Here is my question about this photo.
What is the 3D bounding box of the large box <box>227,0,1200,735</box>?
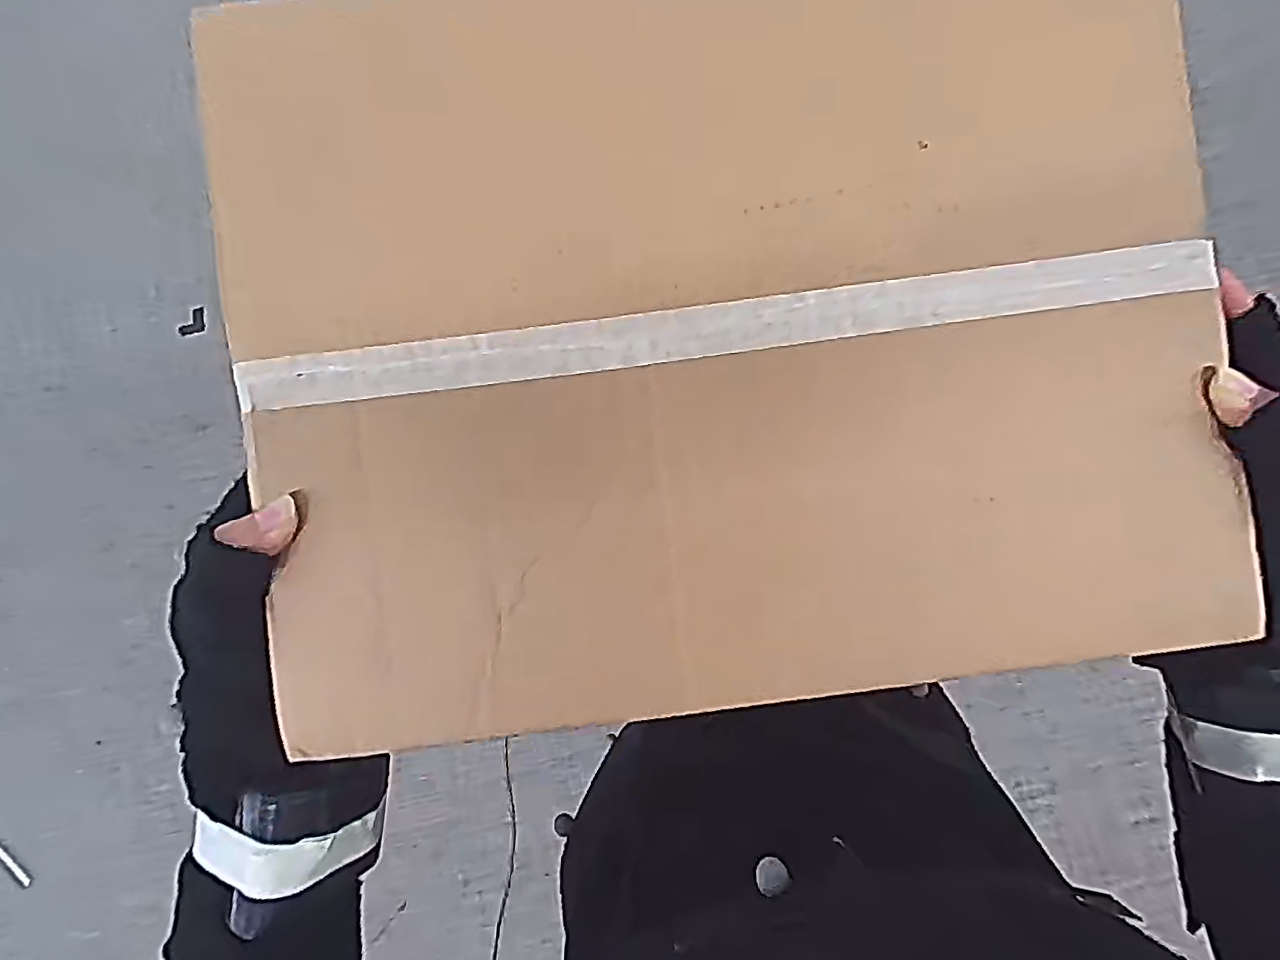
[{"bbox_3d":[0.035,-0.067,0.386,0.408,0.320,0.320,-7,89,-1],"label":"large box"}]
